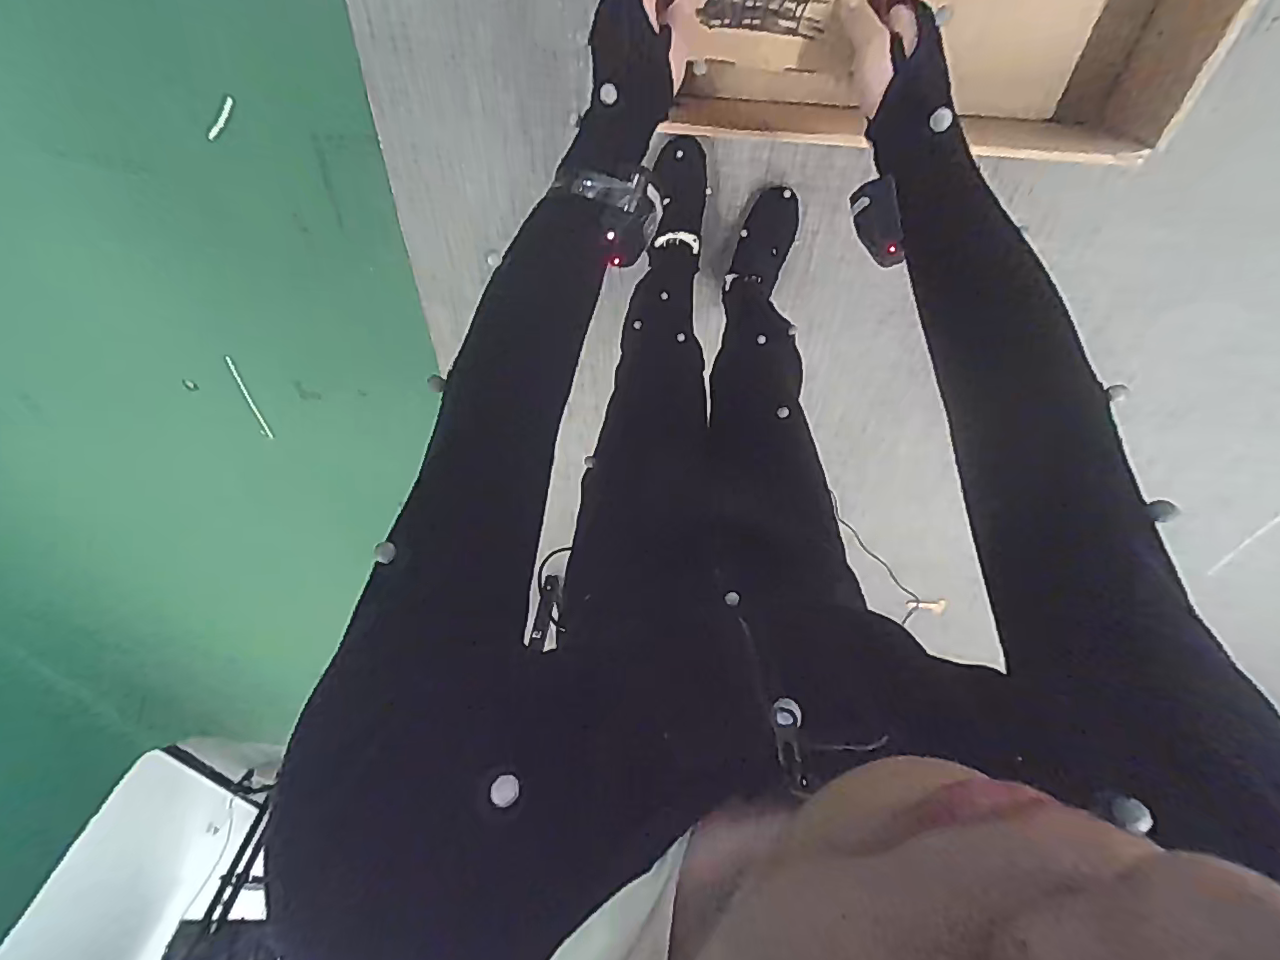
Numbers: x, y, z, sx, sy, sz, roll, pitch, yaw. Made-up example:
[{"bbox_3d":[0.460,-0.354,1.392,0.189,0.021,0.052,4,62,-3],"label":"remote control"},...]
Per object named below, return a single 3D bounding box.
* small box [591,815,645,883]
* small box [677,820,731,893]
[{"bbox_3d":[-0.070,1.246,1.845,0.168,0.176,0.179,3,133,4],"label":"small box"},{"bbox_3d":[0.213,1.270,1.828,0.168,0.176,0.179,4,134,4],"label":"small box"}]
